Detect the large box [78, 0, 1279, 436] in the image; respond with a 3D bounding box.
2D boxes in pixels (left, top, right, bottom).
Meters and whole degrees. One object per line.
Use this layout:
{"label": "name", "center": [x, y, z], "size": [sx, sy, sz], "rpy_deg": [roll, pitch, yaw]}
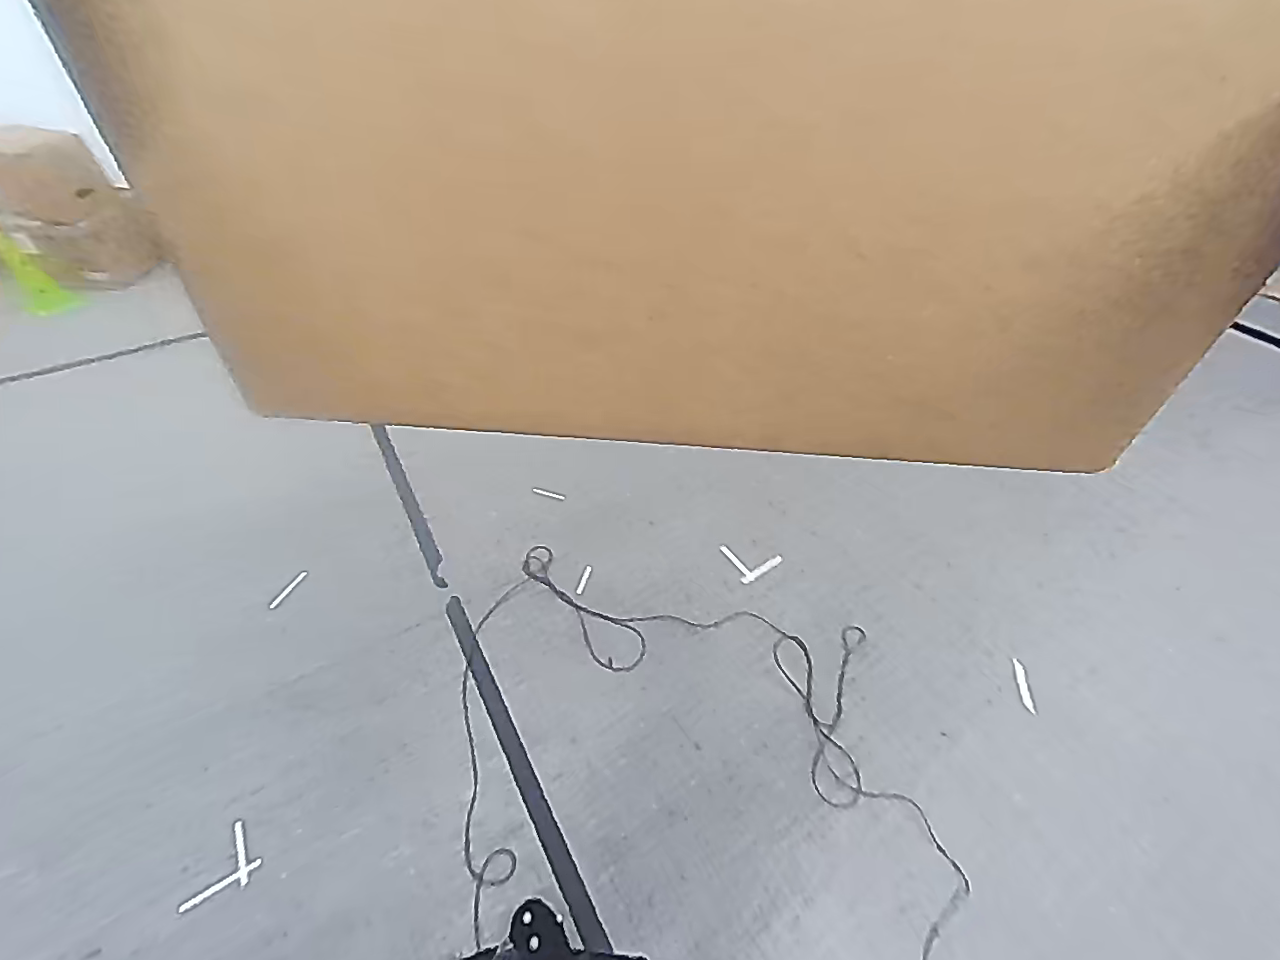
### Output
{"label": "large box", "center": [0.028, -0.240, 0.272], "size": [0.408, 0.320, 0.320], "rpy_deg": [4, 43, -1]}
